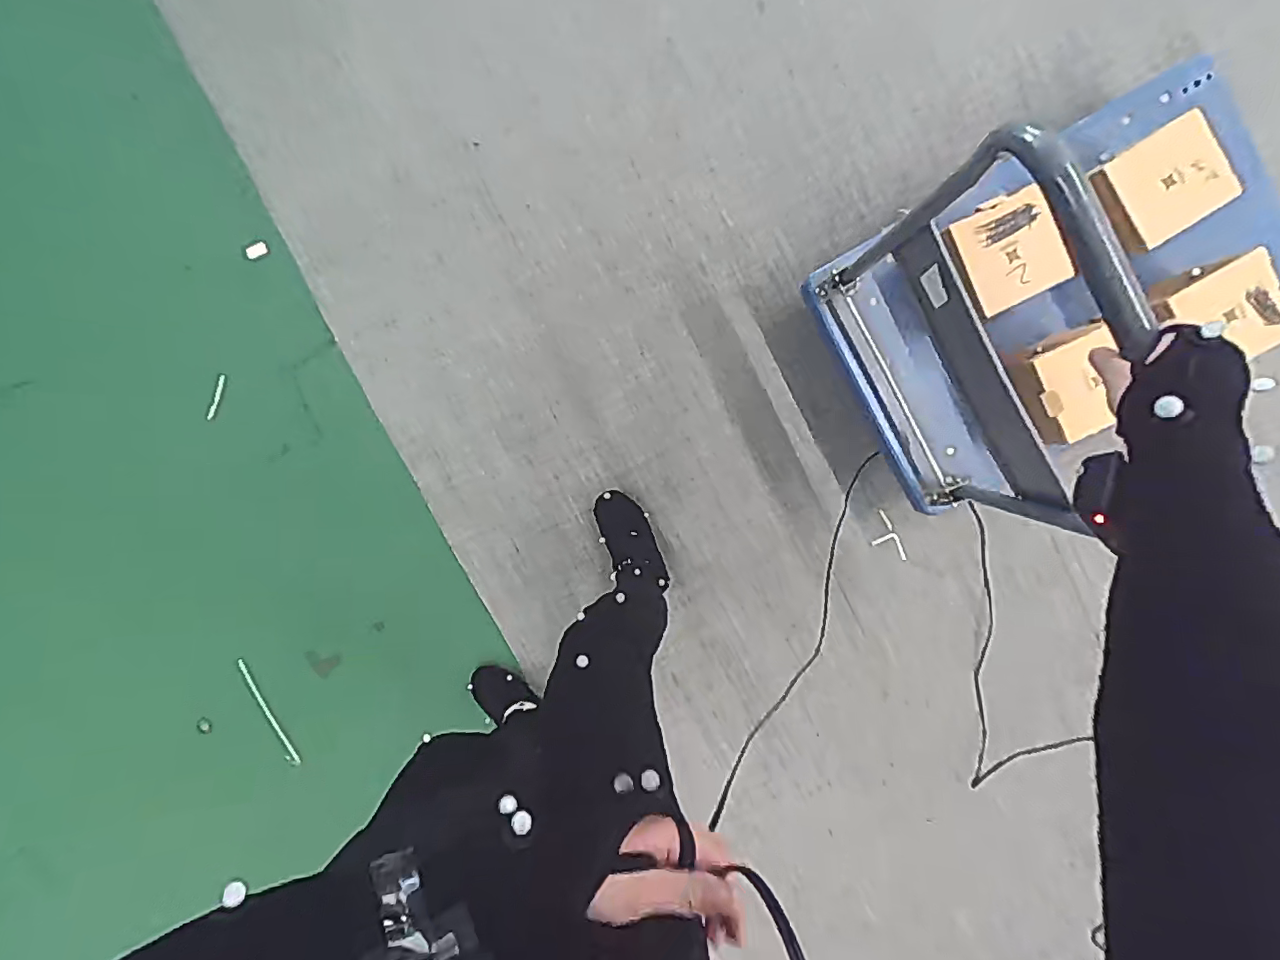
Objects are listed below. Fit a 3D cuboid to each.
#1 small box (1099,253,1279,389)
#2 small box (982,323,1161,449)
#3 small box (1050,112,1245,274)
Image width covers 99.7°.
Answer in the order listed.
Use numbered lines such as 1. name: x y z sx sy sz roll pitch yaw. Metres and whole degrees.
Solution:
1. small box: 1.022 -0.281 1.001 0.179 0.176 0.168 -30 93 5
2. small box: 0.801 -0.172 1.022 0.179 0.176 0.168 -26 93 5
3. small box: 0.900 -0.505 0.985 0.179 0.176 0.168 -32 94 5
